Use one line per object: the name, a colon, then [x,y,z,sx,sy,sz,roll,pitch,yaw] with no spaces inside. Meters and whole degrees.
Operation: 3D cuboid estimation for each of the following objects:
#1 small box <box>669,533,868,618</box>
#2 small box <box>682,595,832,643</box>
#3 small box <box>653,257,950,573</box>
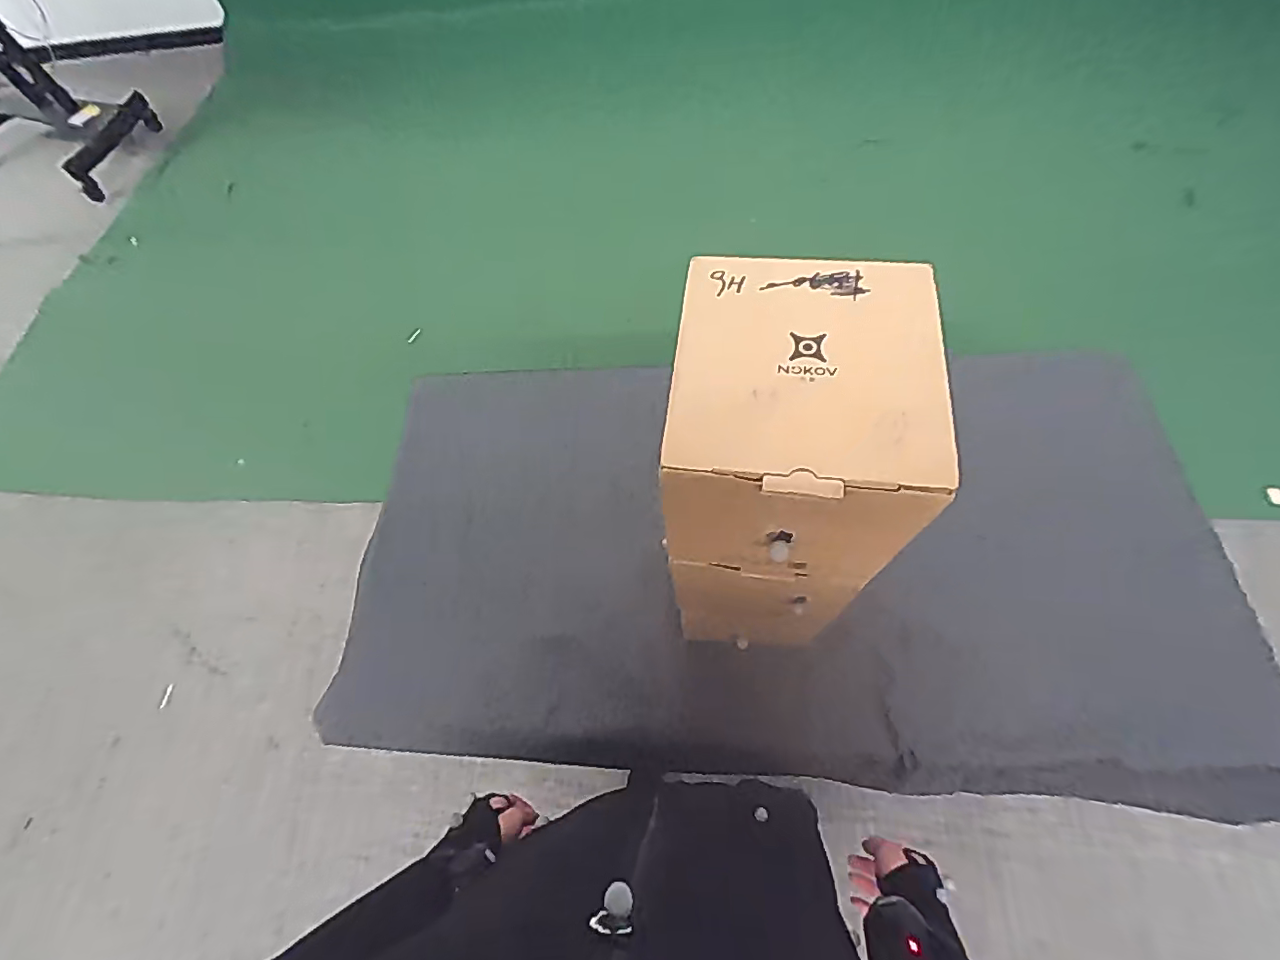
small box: [0.124,0.034,0.554,0.168,0.176,0.179,4,63,8]
small box: [0.141,0.103,0.699,0.168,0.176,0.179,1,65,8]
small box: [0.109,-0.039,0.408,0.168,0.176,0.179,6,66,9]
